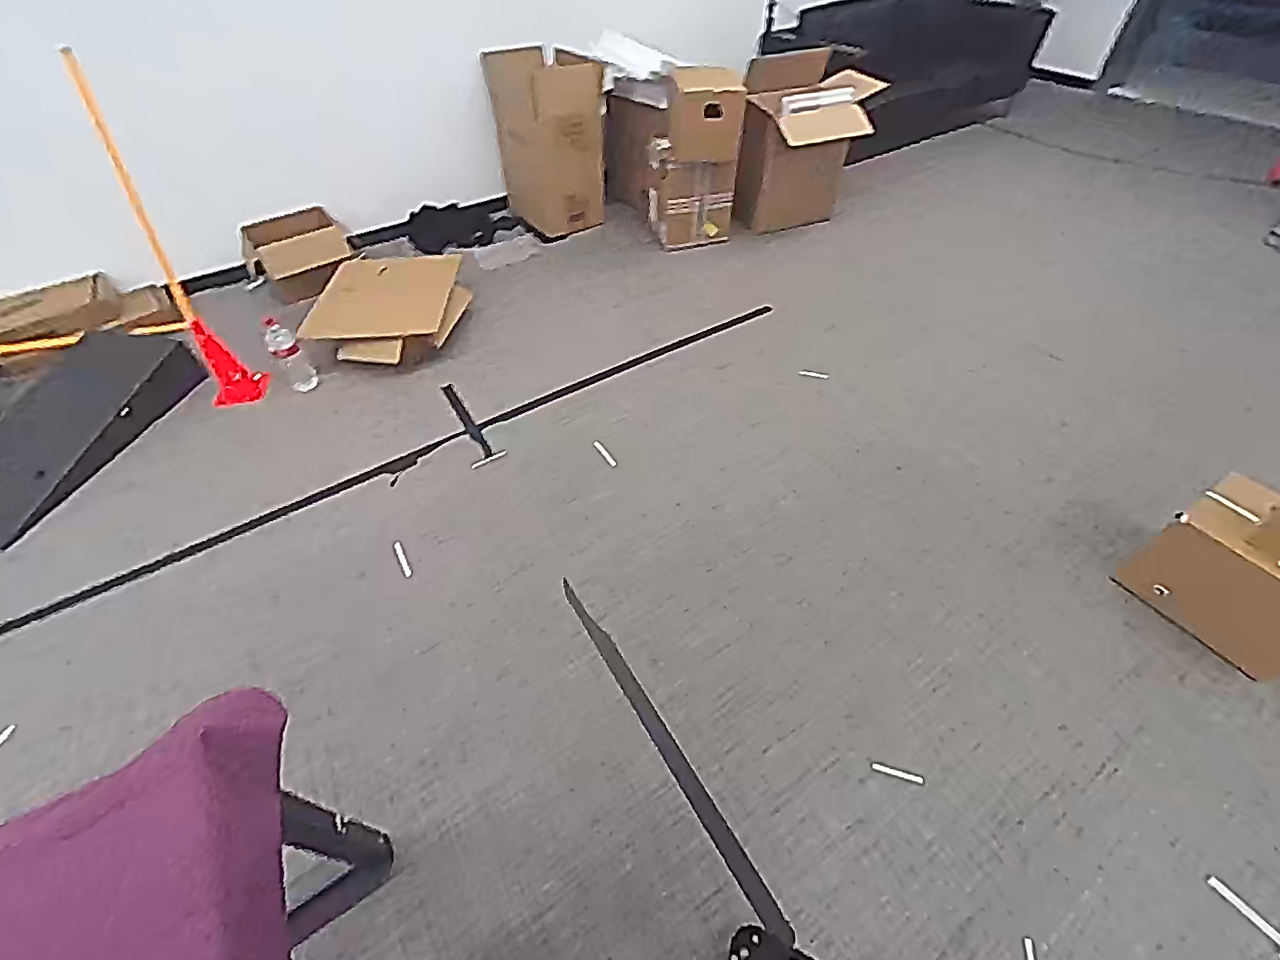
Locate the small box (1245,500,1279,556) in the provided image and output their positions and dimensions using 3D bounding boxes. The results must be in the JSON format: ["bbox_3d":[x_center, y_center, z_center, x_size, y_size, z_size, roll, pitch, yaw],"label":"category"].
[{"bbox_3d":[1.667,0.111,1.319,0.168,0.176,0.179,-29,54,-20],"label":"small box"}]
